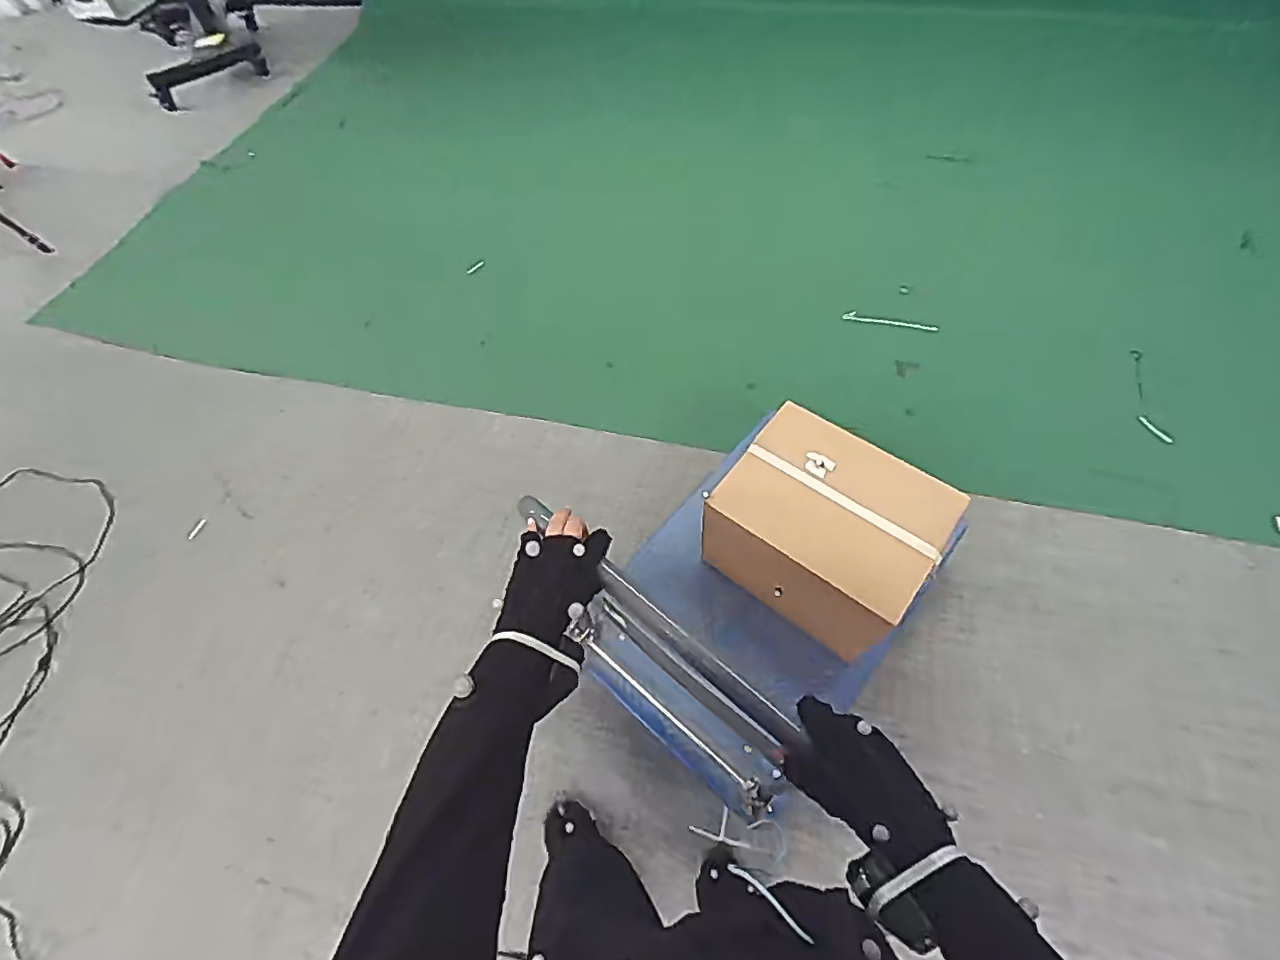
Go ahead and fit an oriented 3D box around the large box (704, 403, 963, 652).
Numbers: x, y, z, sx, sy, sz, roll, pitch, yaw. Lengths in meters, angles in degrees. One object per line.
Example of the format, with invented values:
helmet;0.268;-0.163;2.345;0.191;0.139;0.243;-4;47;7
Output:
large box;0.390;0.109;1.183;0.408;0.320;0.320;33;67;22
